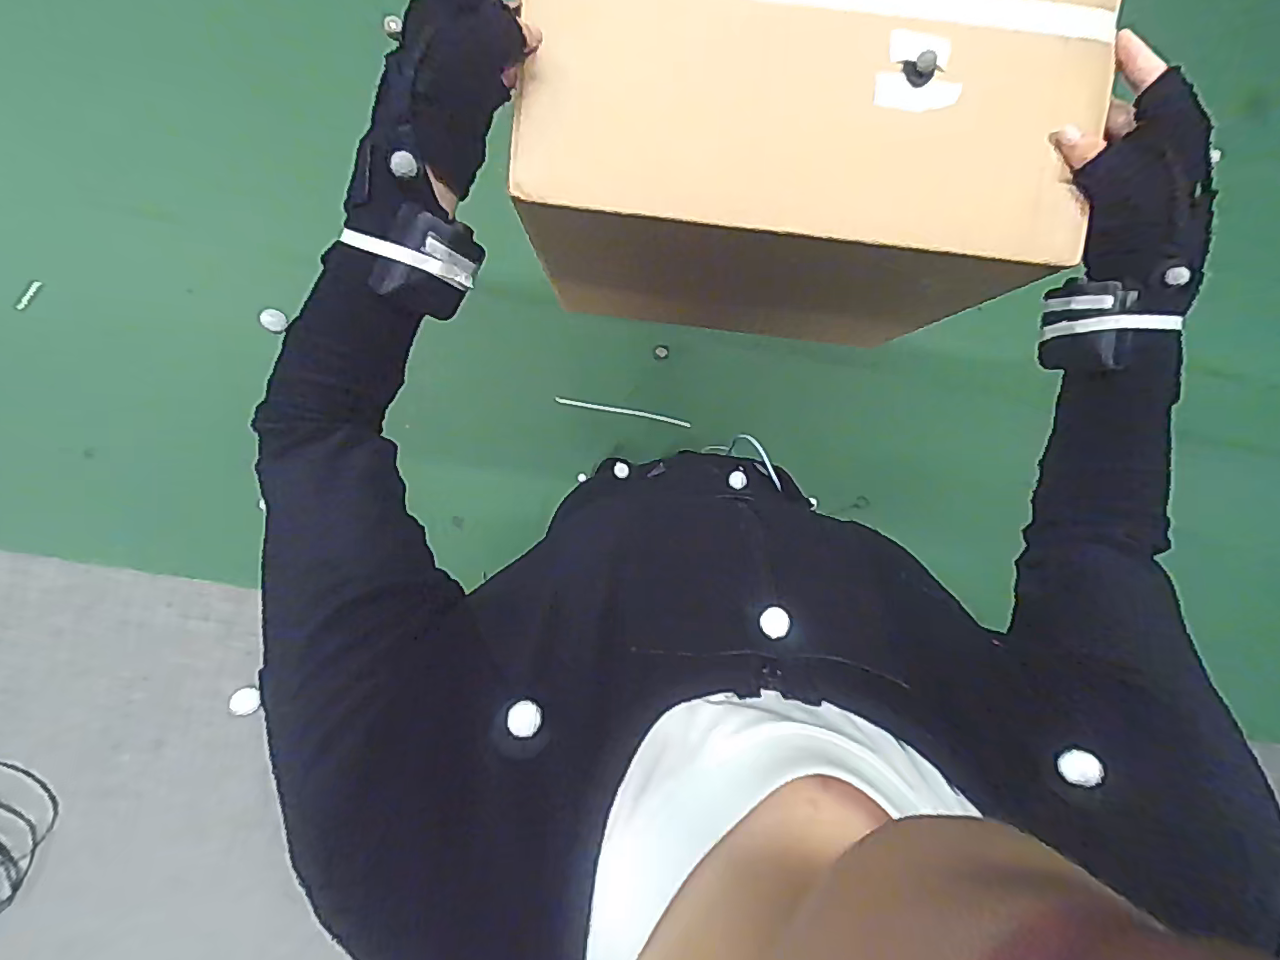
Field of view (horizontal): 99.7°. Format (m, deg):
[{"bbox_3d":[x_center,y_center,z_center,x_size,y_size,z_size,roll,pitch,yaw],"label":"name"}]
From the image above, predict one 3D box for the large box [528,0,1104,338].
[{"bbox_3d":[0.122,-0.340,0.527,0.408,0.320,0.320,6,93,-3],"label":"large box"}]
